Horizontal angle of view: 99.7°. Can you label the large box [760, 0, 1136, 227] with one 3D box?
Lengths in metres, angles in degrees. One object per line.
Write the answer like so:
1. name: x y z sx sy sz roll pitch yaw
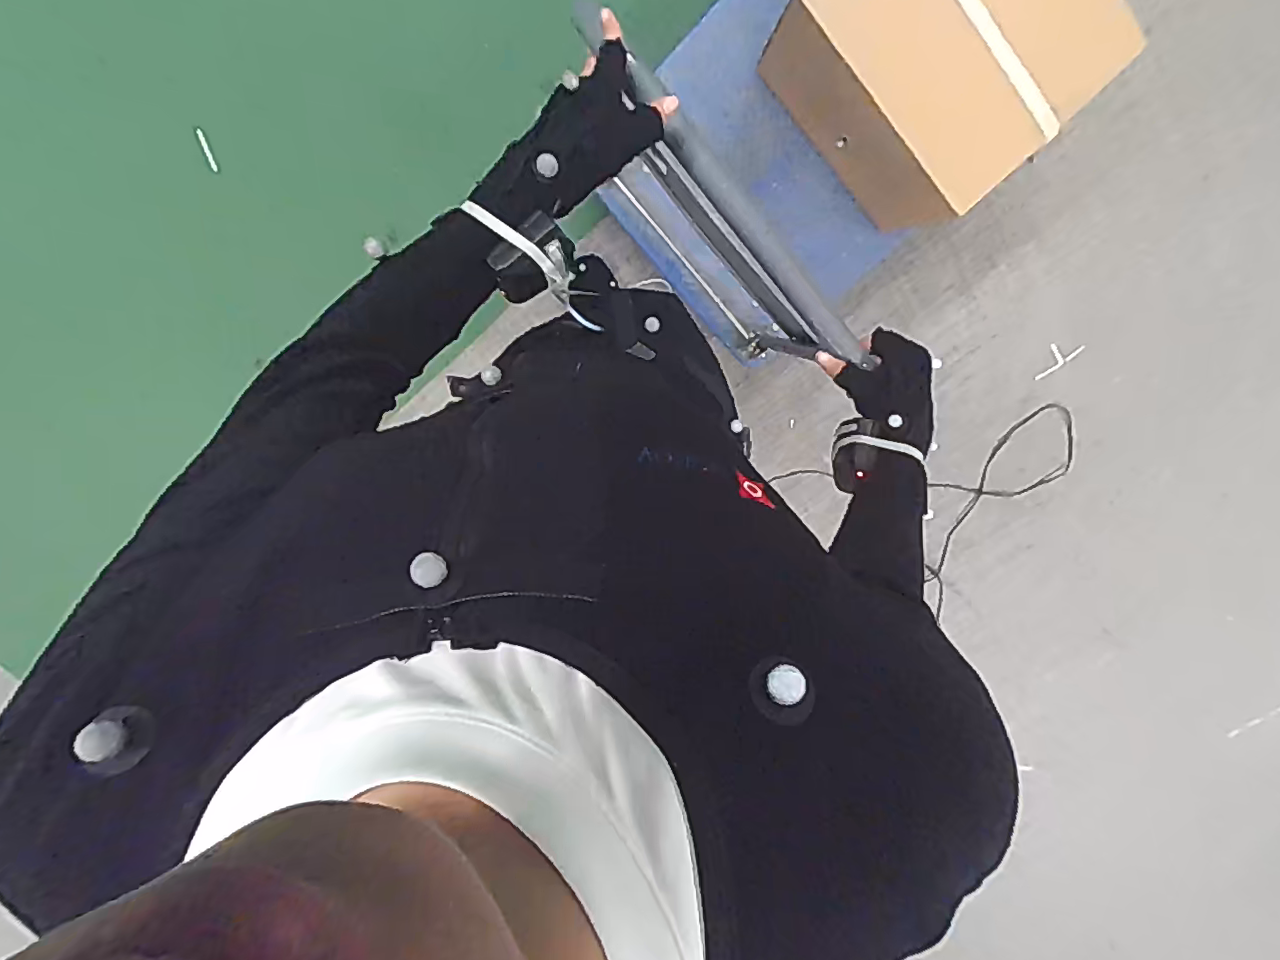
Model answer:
1. large box: 0.467 -0.700 0.903 0.320 0.320 0.408 -43 104 14
